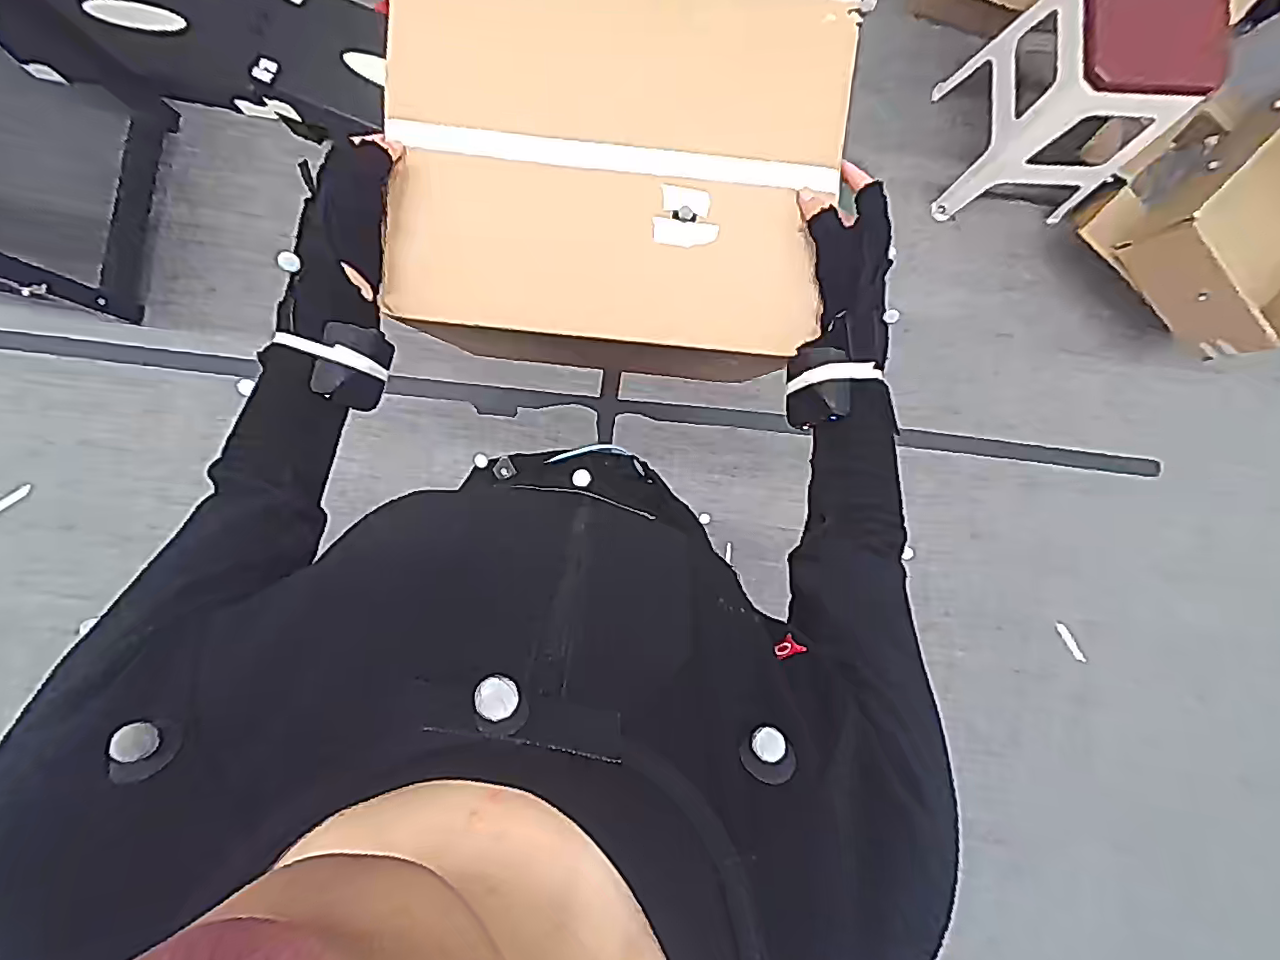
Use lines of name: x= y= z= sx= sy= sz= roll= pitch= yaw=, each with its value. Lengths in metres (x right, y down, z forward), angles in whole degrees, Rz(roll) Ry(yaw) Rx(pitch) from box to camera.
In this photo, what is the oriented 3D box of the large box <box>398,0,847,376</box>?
large box: x=-0.026 y=-0.307 z=0.648 sx=0.408 sy=0.320 sz=0.320 roll=5 pitch=97 yaw=-3
